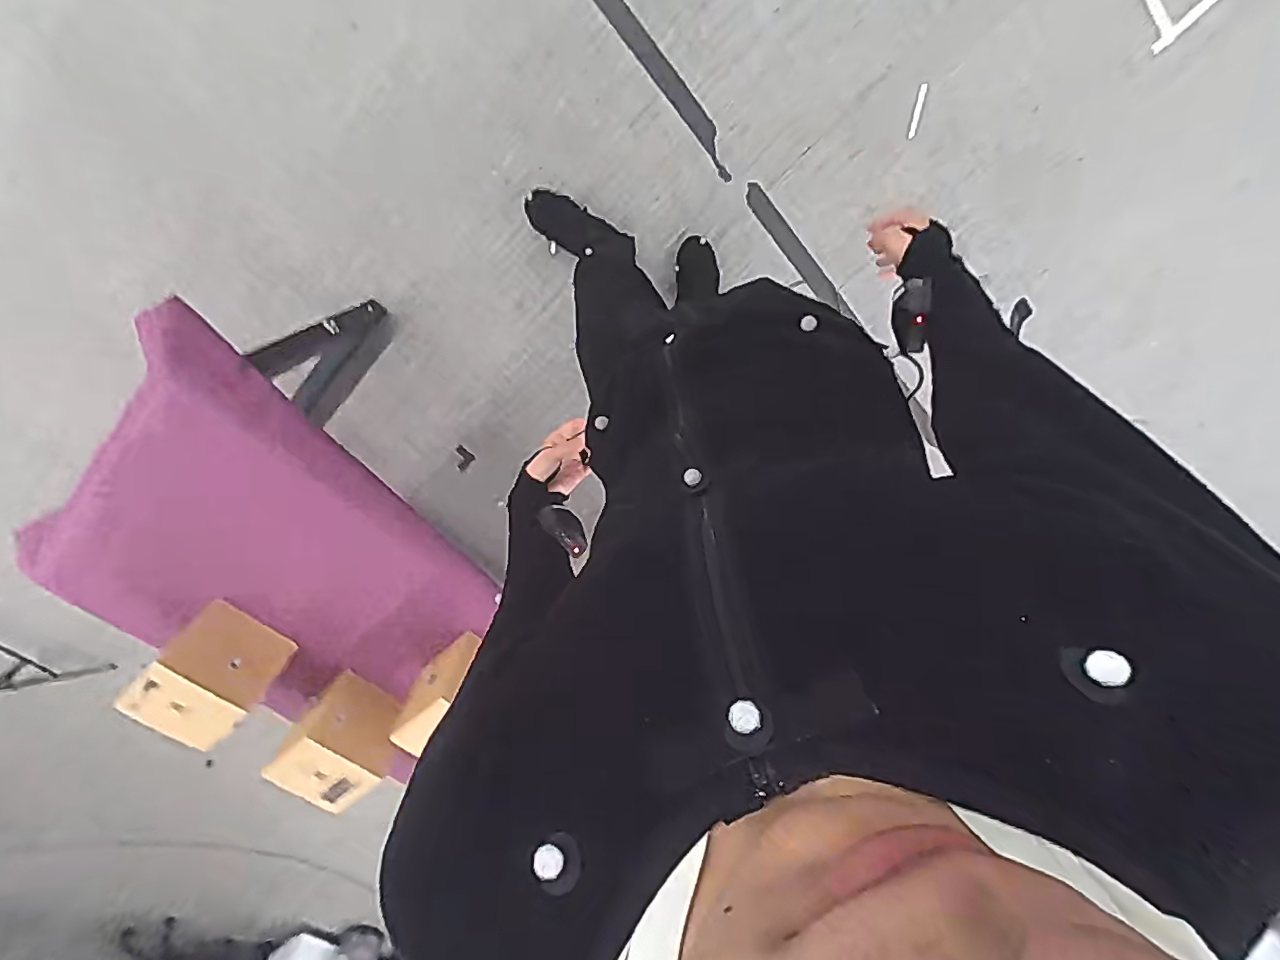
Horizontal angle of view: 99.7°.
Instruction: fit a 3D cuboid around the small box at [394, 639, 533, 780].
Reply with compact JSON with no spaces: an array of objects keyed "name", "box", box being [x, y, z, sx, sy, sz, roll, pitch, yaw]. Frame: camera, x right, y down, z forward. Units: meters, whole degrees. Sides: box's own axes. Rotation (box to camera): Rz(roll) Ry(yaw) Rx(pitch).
[{"name":"small box","box":[-0.338,0.443,1.069,0.168,0.176,0.179,-40,111,20]}]
